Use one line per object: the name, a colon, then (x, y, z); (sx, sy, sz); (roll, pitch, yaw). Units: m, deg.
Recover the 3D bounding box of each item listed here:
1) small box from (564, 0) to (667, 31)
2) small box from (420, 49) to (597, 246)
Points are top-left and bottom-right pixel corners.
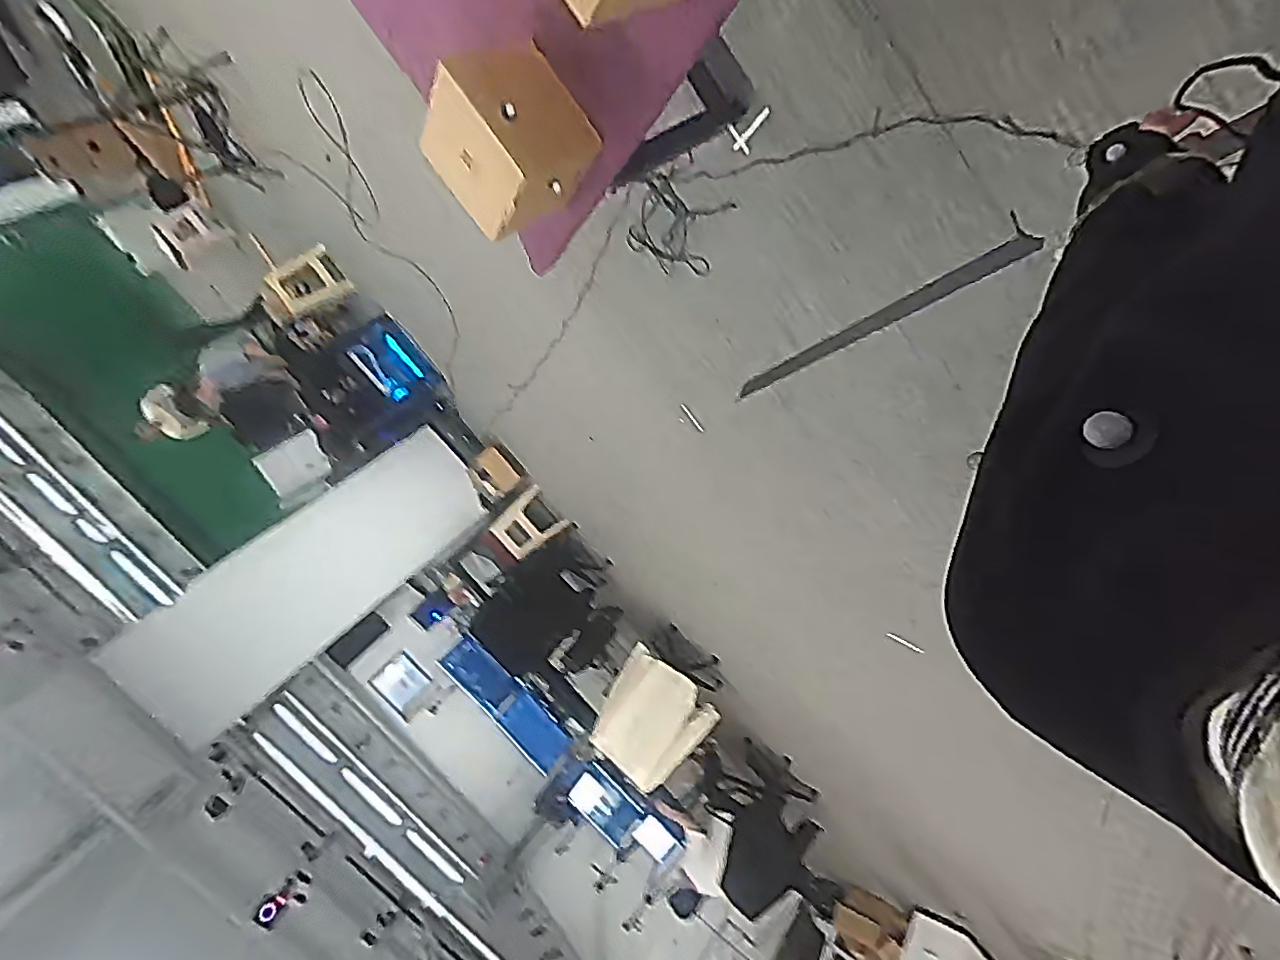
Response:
small box: (-0.012, -0.574, 0.490); (0.168, 0.176, 0.179); (51, 150, -12)
small box: (-0.195, -0.501, 0.817); (0.179, 0.176, 0.168); (52, 149, -10)
